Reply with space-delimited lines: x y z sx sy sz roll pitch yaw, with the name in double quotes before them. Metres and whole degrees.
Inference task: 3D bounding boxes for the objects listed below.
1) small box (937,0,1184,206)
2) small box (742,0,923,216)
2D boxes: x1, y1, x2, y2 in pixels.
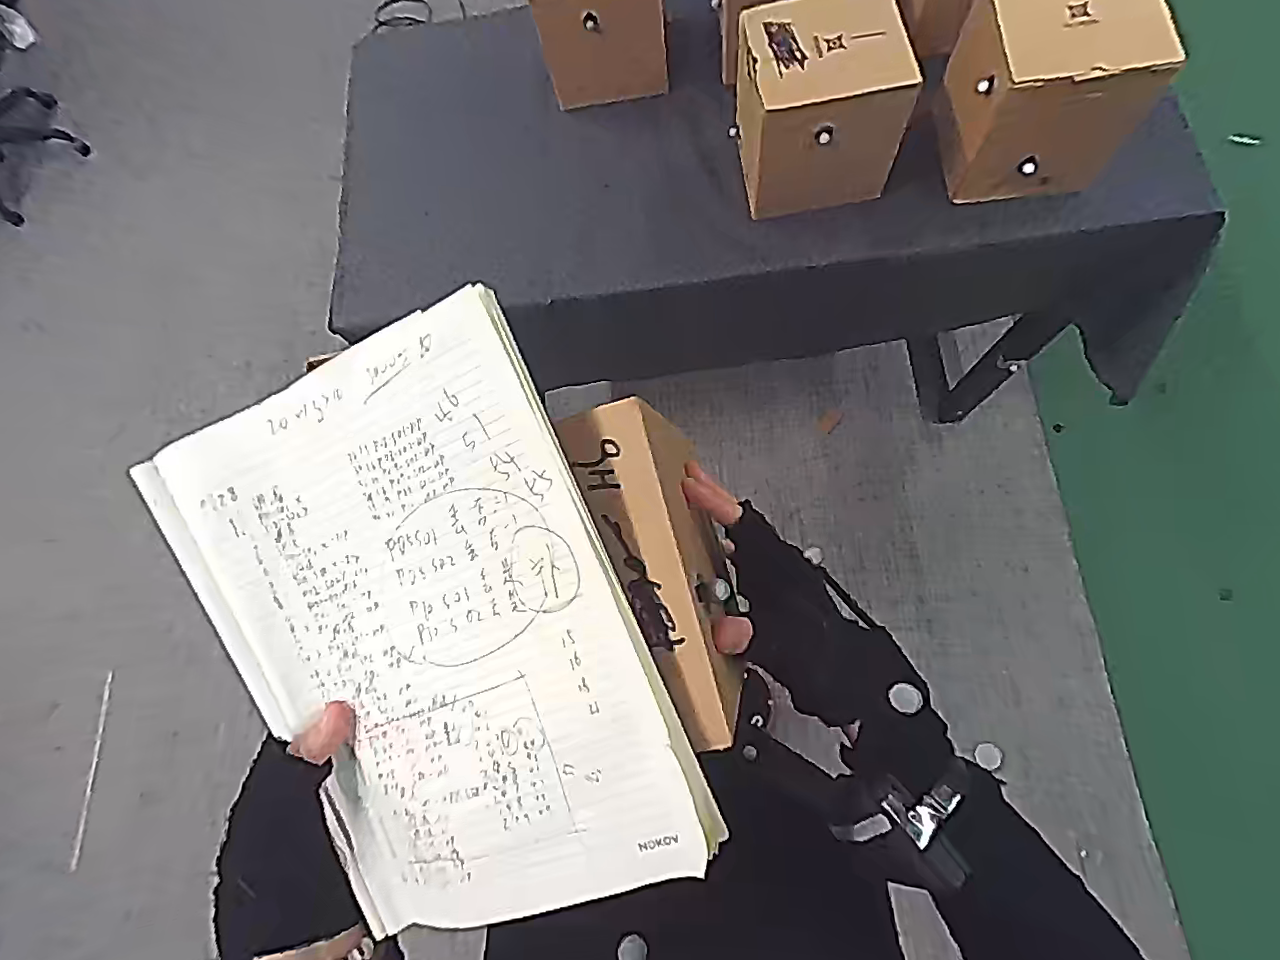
"small box" 0.490 -0.475 0.666 0.168 0.176 0.179 -2 73 8
"small box" 0.230 -0.472 0.699 0.179 0.176 0.168 -8 73 5
